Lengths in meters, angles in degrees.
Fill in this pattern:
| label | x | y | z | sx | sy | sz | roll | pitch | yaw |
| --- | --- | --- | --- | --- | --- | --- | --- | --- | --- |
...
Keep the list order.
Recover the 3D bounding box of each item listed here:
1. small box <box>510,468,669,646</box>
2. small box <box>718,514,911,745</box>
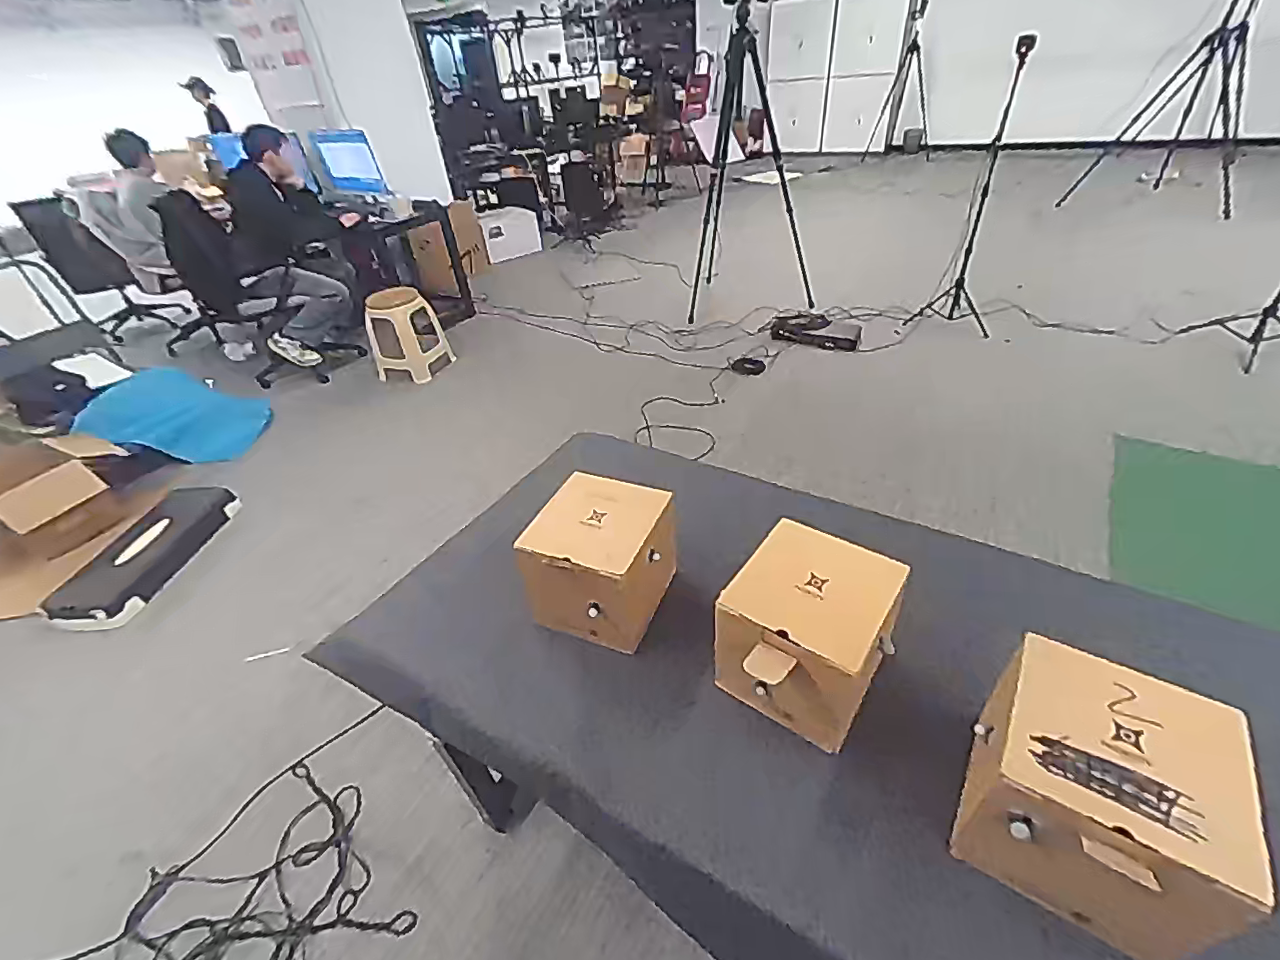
| label | x | y | z | sx | sy | sz | roll | pitch | yaw |
| --- | --- | --- | --- | --- | --- | --- | --- | --- | --- |
| small box | -0.060 | 0.110 | 0.788 | 0.168 | 0.176 | 0.179 | 13 | 40 | 20 |
| small box | 0.205 | 0.179 | 0.667 | 0.168 | 0.176 | 0.179 | 23 | 46 | 31 |
